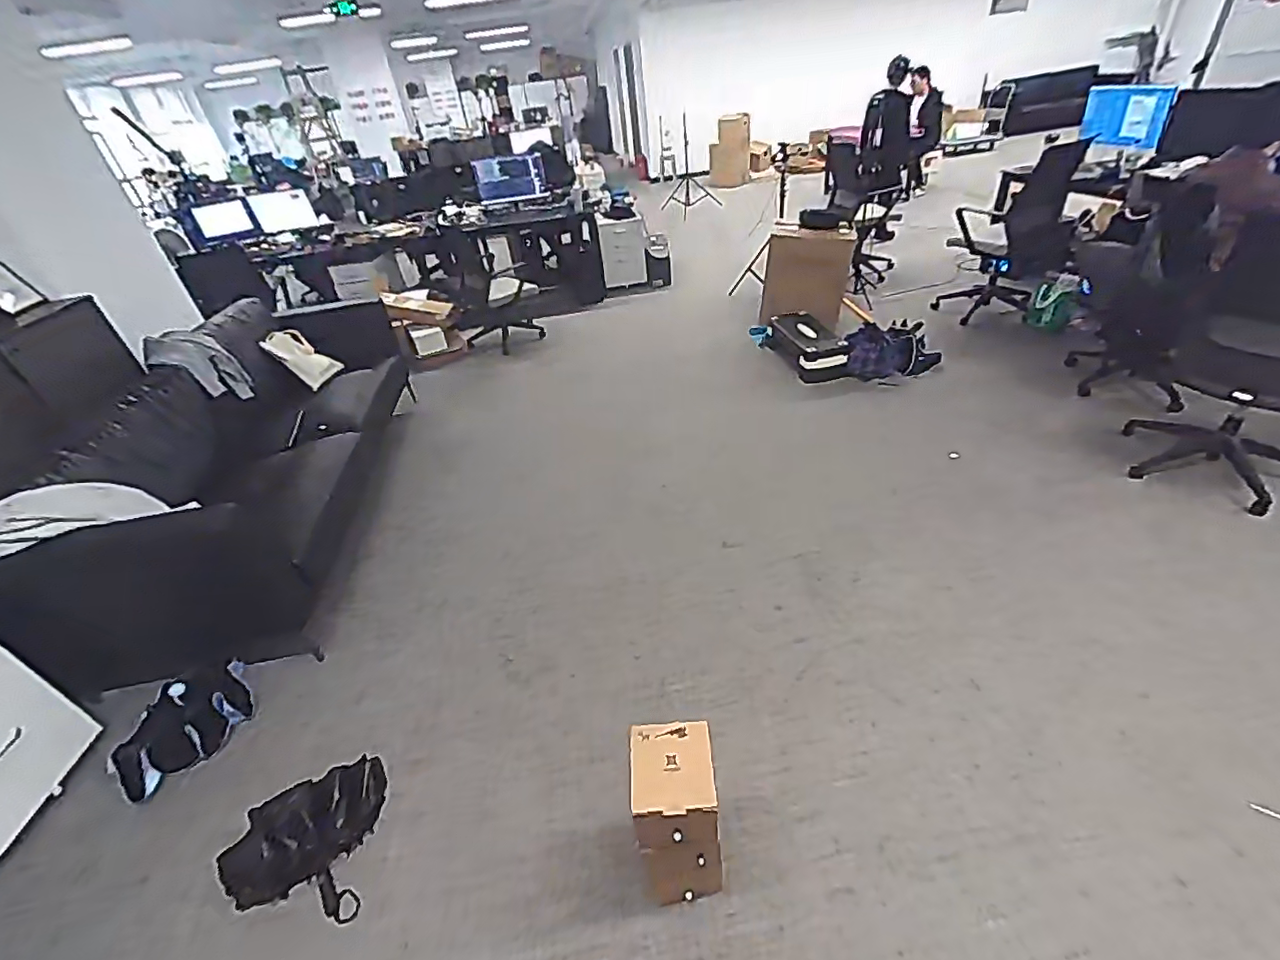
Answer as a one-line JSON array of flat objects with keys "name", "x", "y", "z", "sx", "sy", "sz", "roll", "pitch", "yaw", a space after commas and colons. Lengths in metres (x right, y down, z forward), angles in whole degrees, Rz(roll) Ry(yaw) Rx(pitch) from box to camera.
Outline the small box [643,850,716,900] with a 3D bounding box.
[{"name": "small box", "x": 0.083, "y": 0.883, "z": 1.321, "sx": 0.168, "sy": 0.176, "sz": 0.179, "roll": -11, "pitch": 39, "yaw": -4}]

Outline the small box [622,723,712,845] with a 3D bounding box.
[{"name": "small box", "x": 0.056, "y": 0.632, "z": 1.117, "sx": 0.168, "sy": 0.176, "sz": 0.179, "roll": -6, "pitch": 38, "yaw": 3}]

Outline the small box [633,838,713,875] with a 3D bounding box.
[{"name": "small box", "x": 0.066, "y": 0.759, "z": 1.219, "sx": 0.168, "sy": 0.176, "sz": 0.179, "roll": -9, "pitch": 36, "yaw": -3}]
